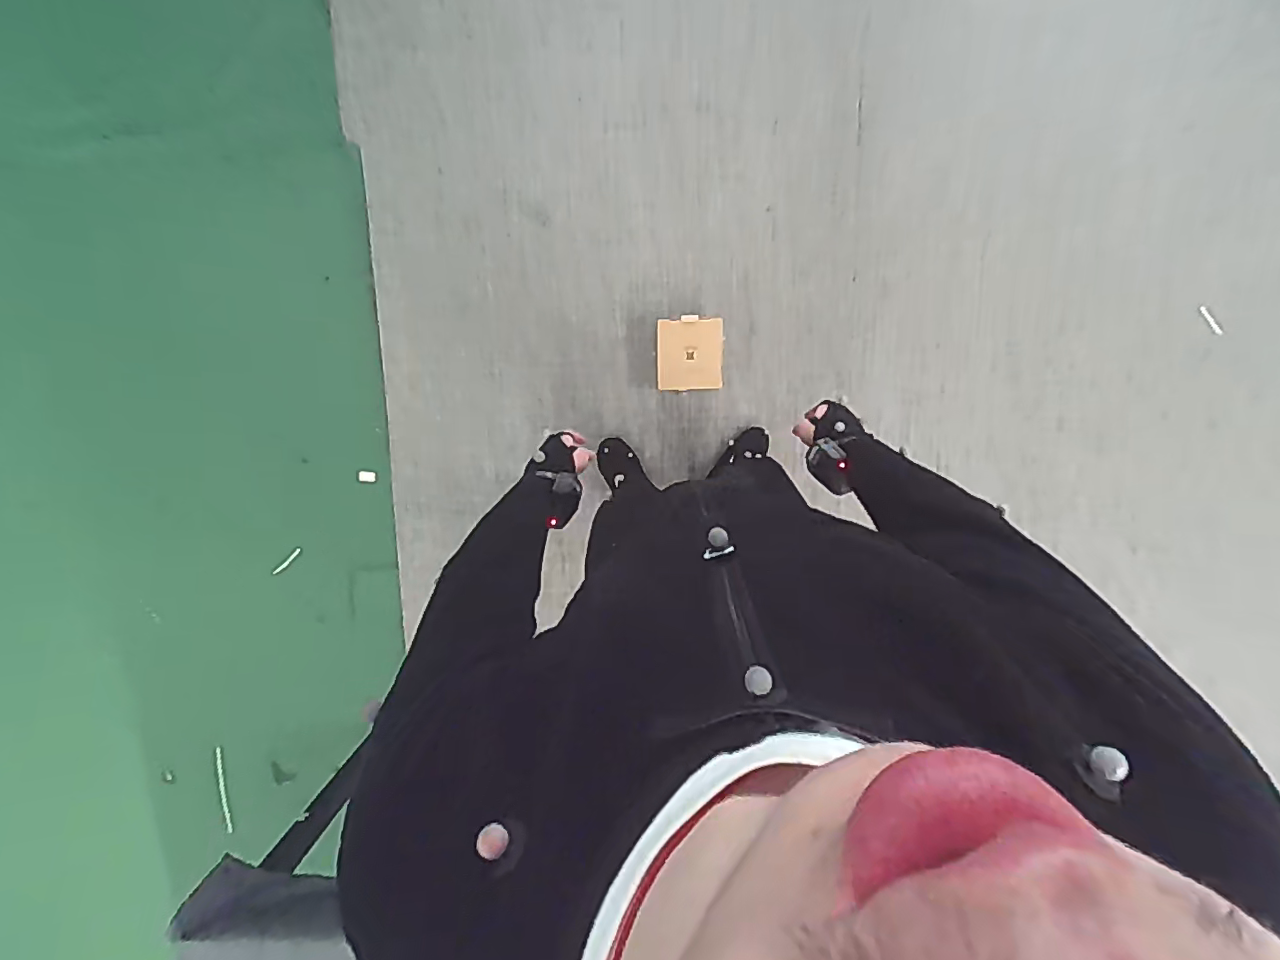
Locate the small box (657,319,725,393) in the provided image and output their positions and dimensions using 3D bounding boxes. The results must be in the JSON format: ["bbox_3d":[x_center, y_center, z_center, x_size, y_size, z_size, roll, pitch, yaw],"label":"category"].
[{"bbox_3d":[0.129,-0.321,1.421,0.168,0.176,0.179,2,99,4],"label":"small box"}]
